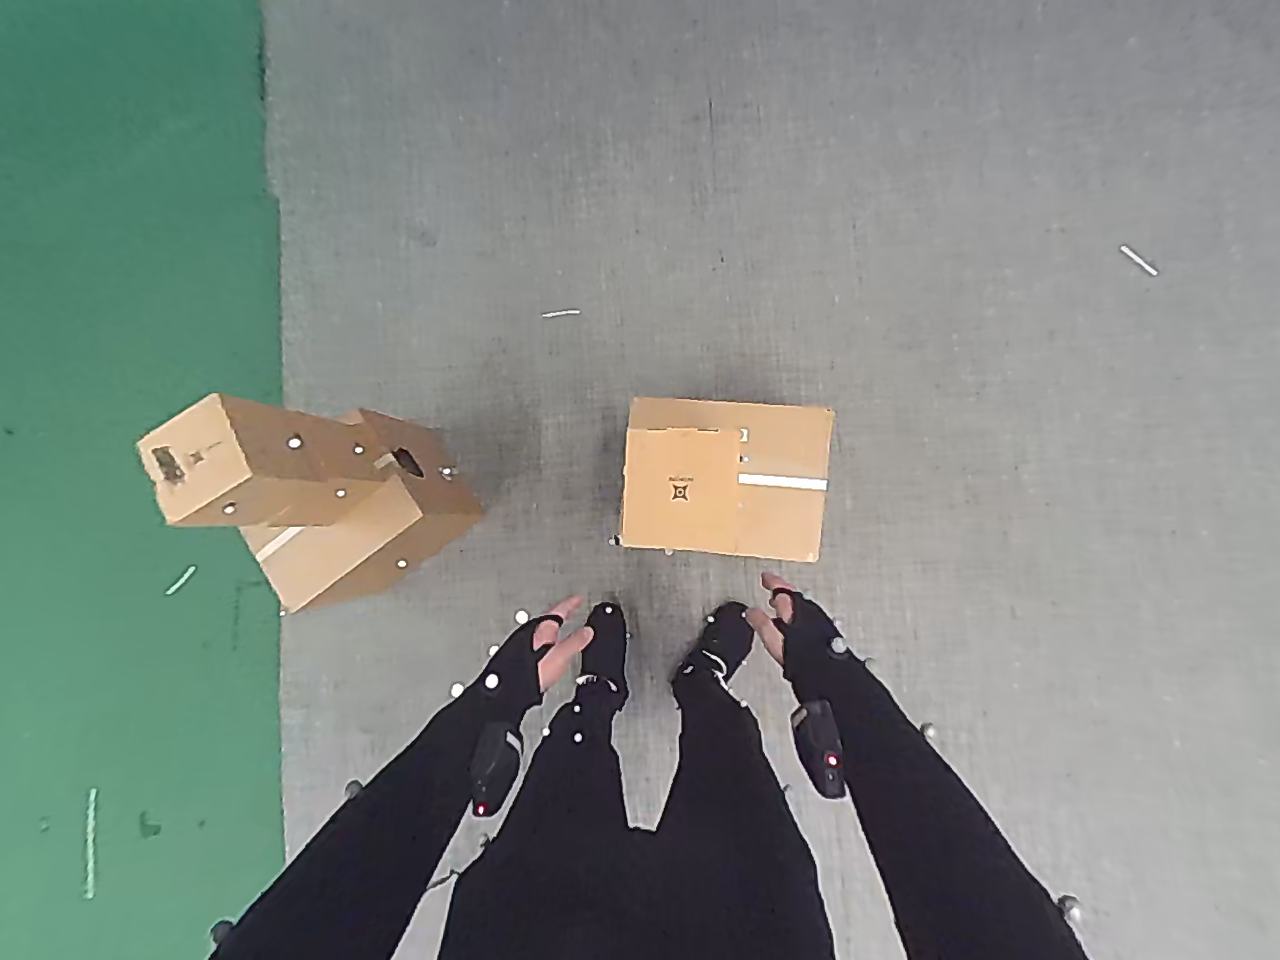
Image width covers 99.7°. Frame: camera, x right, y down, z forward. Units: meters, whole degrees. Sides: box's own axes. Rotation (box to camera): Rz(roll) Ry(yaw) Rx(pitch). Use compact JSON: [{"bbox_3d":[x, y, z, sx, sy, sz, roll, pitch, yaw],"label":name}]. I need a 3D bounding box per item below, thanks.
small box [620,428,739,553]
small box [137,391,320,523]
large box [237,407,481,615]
[{"bbox_3d":[0.069,0.018,0.850,0.168,0.176,0.179,2,86,9],"label":"small box"},{"bbox_3d":[-0.730,-0.031,0.975,0.179,0.176,0.168,-29,82,6],"label":"small box"},{"bbox_3d":[-0.697,0.076,1.378,0.408,0.320,0.320,-36,81,6],"label":"large box"}]
